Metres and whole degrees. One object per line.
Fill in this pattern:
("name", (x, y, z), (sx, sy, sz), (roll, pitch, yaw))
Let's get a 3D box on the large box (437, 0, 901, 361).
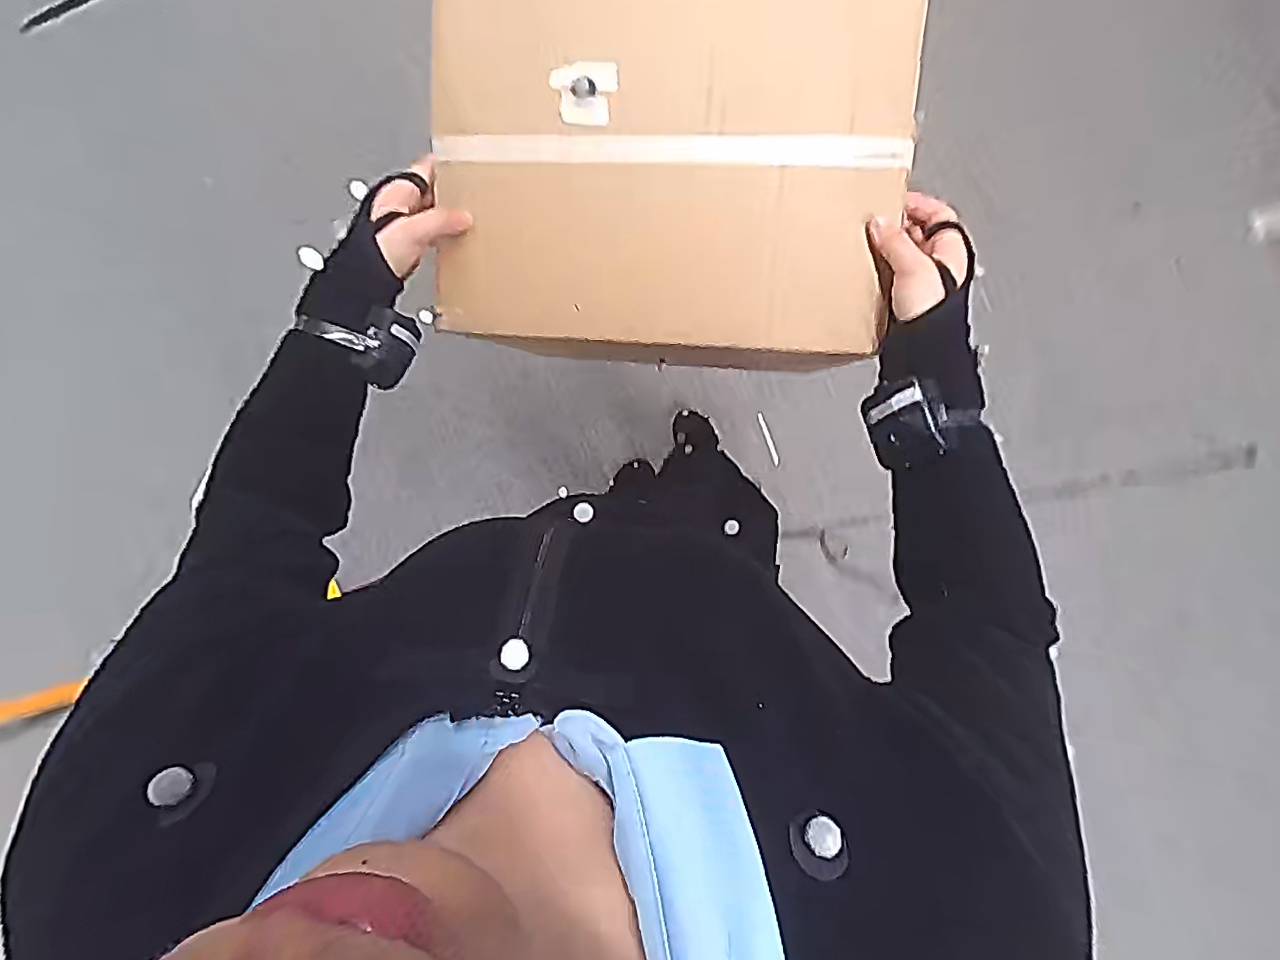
("large box", (0.033, -0.302, 0.620), (0.408, 0.320, 0.320), (3, 98, 8))
